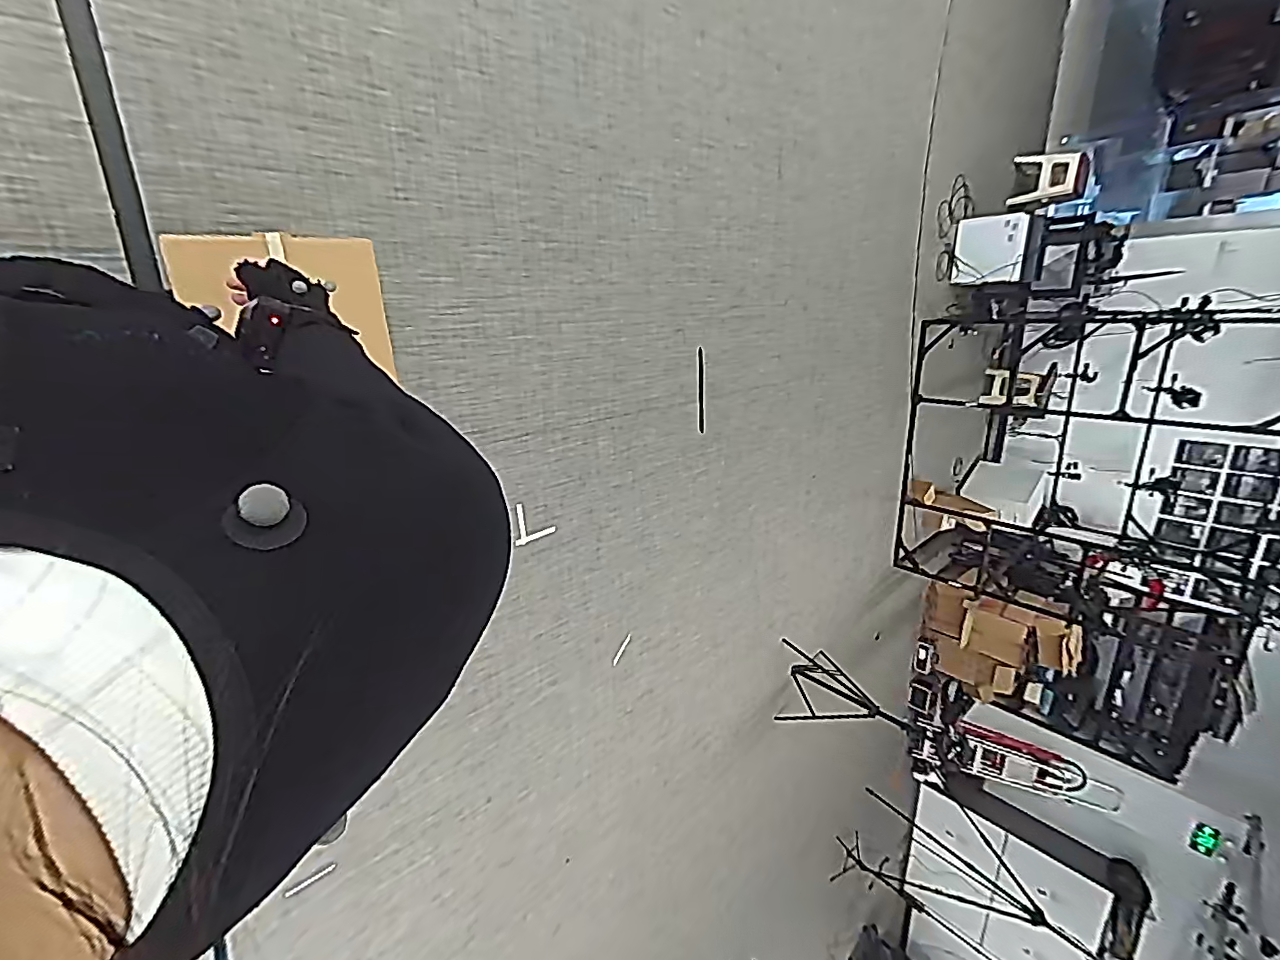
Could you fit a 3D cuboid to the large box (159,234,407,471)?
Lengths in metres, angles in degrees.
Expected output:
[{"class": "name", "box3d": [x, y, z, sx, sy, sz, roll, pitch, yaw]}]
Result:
[{"class": "large box", "box3d": [-0.711, -0.273, 1.104, 0.320, 0.320, 0.408, -15, 114, -33]}]
